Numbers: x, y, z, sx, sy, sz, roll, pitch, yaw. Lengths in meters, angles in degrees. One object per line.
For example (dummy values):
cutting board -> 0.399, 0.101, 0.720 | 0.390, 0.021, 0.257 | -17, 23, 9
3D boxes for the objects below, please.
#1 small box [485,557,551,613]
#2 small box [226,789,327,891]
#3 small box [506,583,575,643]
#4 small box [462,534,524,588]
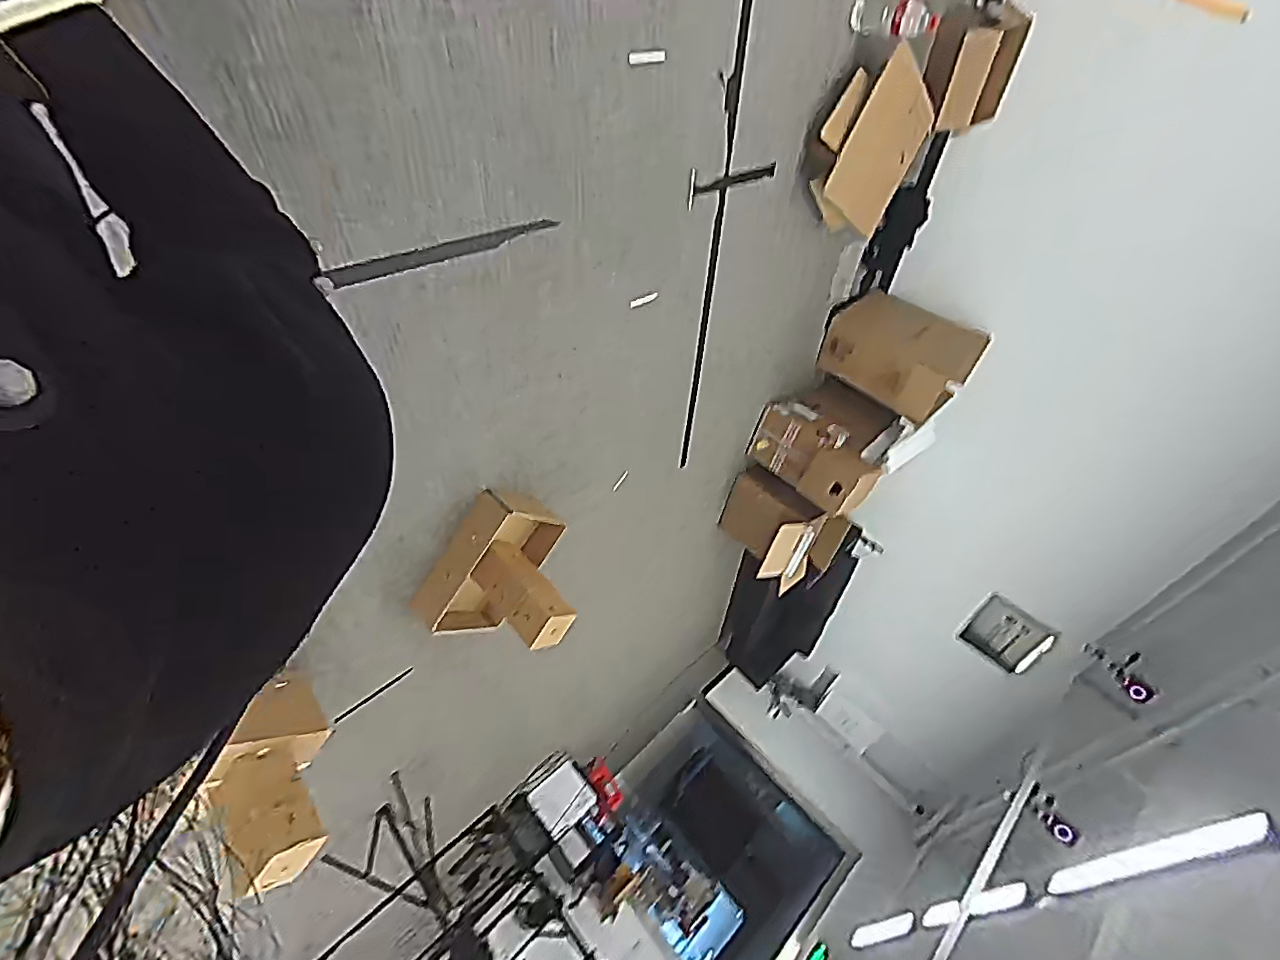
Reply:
small box -> -0.515, 0.436, 2.266 | 0.168, 0.176, 0.179 | -56, 152, 12
small box -> -1.088, 1.056, 1.612 | 0.179, 0.176, 0.168 | -54, 150, 3
small box -> -0.407, 0.532, 2.187 | 0.168, 0.176, 0.179 | -56, 151, 13
small box -> -0.630, 0.351, 2.343 | 0.168, 0.176, 0.179 | -55, 150, 8
